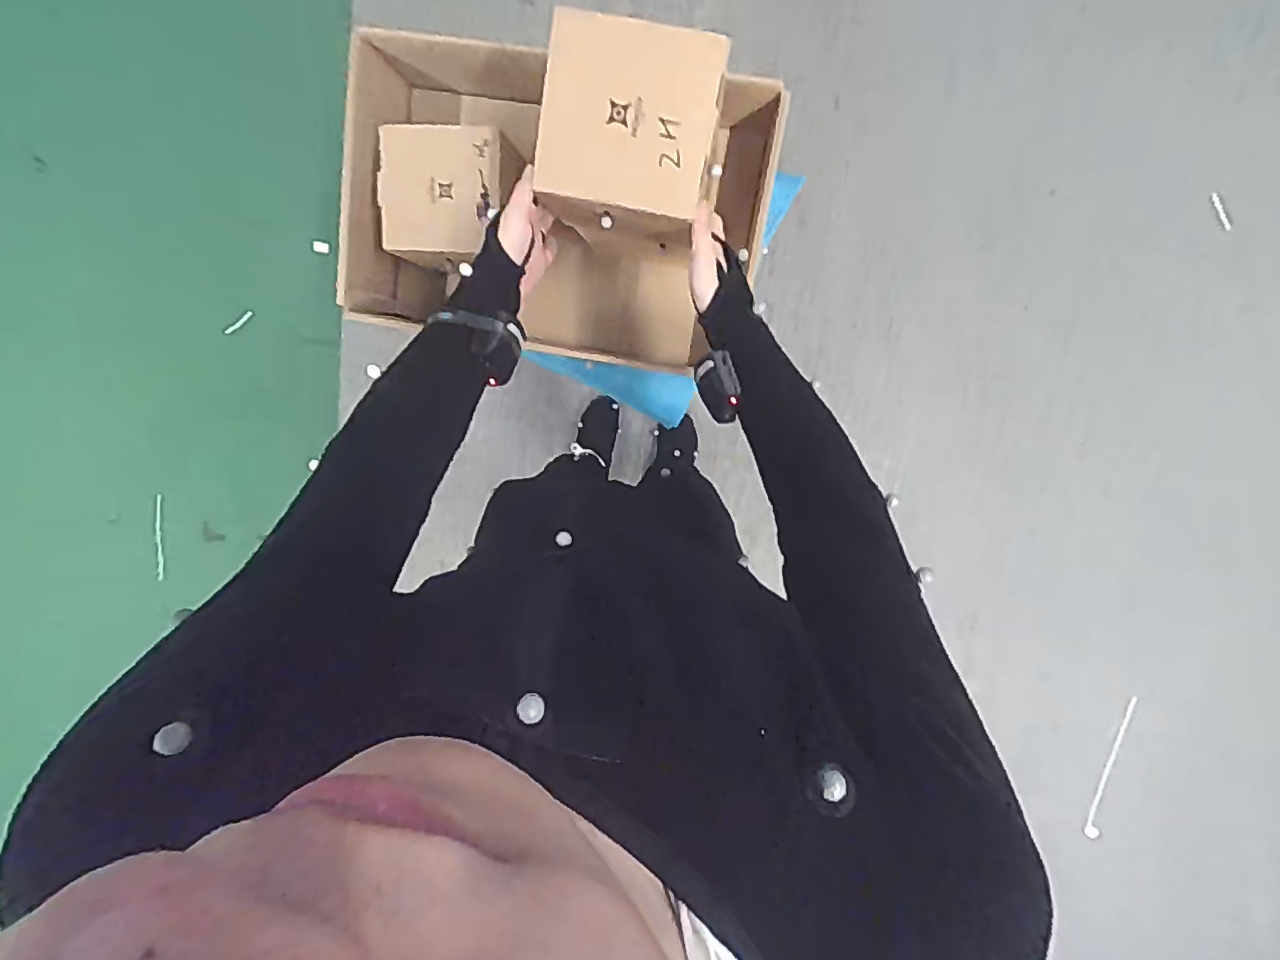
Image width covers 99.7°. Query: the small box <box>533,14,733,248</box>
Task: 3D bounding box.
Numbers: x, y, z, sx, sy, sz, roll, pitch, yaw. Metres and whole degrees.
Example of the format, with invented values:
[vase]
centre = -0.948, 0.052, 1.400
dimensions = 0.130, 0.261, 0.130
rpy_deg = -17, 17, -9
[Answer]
[small box]
centre = -0.005, -0.376, 0.616
dimensions = 0.179, 0.176, 0.168
rpy_deg = 12, 105, 1
